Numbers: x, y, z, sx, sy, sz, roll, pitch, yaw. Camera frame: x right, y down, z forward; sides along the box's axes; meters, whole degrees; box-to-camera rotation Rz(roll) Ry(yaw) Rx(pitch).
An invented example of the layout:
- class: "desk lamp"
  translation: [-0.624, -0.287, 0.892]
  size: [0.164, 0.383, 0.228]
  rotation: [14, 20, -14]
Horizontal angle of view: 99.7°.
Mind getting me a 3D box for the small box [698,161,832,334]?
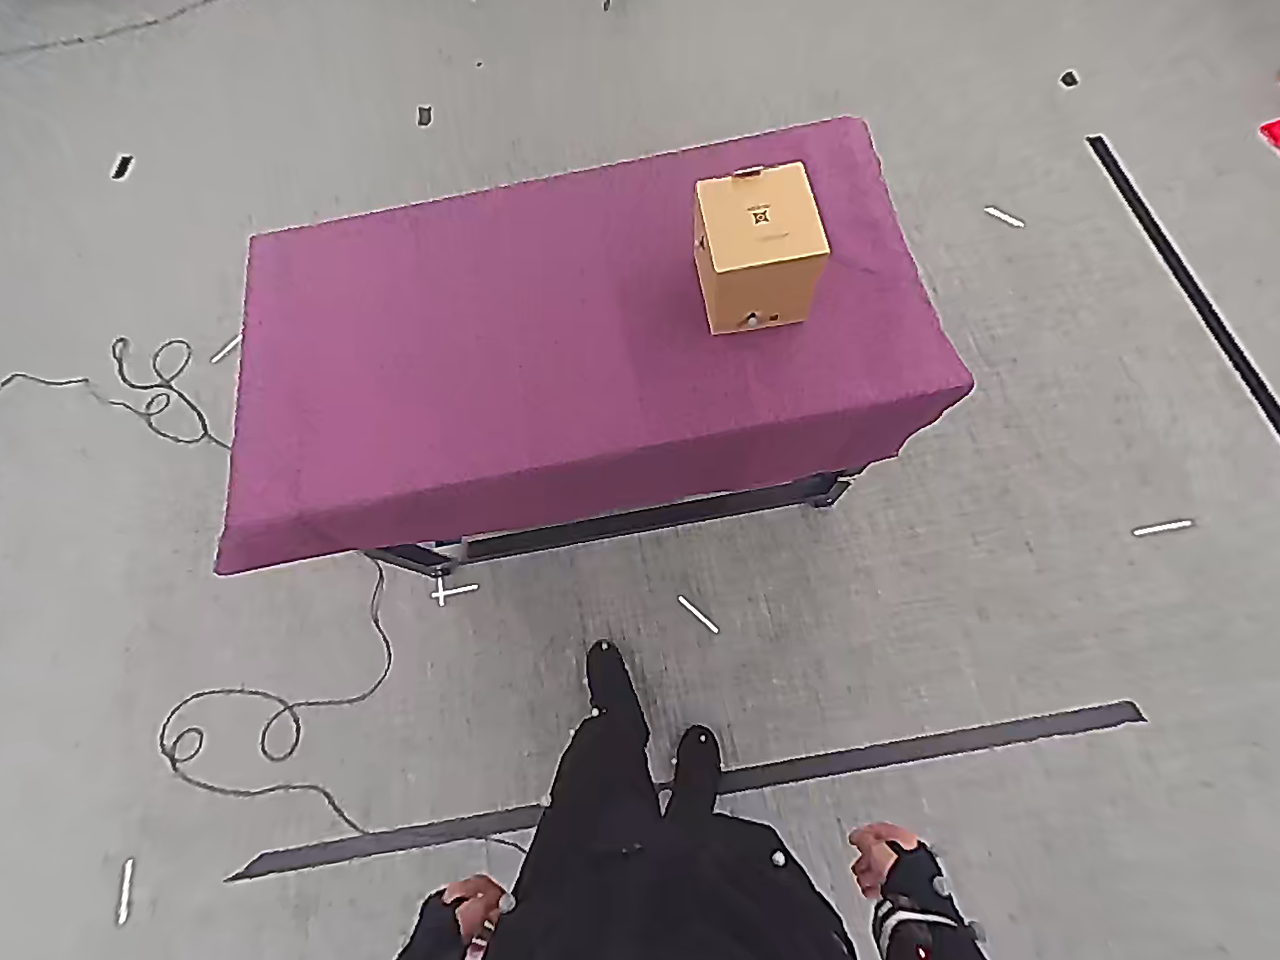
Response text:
- class: "small box"
  translation: [0.186, -0.361, 0.860]
  size: [0.168, 0.176, 0.179]
  rotation: [-8, 71, 3]
